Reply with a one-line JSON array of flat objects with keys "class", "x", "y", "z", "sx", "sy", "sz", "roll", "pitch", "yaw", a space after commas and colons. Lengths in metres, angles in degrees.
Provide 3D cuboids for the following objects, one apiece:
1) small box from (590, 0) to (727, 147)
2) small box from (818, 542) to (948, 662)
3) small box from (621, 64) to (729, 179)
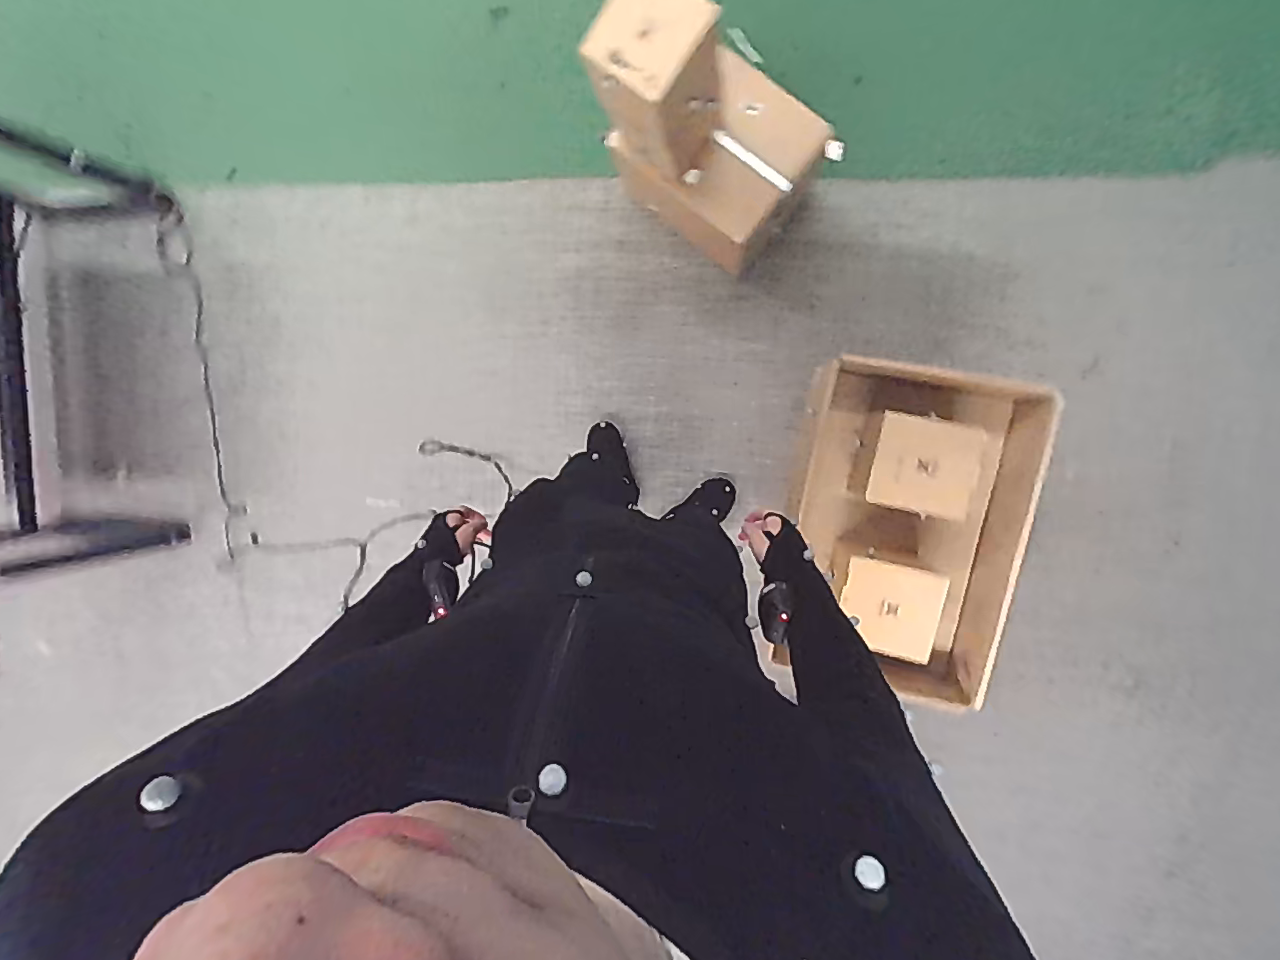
[{"class": "small box", "x": 0.038, "y": -0.757, "z": 0.976, "sx": 0.168, "sy": 0.176, "sz": 0.179, "roll": 39, "pitch": 100, "yaw": 3}, {"class": "small box", "x": 0.471, "y": 0.231, "z": 1.075, "sx": 0.179, "sy": 0.176, "sz": 0.168, "roll": 13, "pitch": 98, "yaw": 9}, {"class": "small box", "x": 0.069, "y": -0.784, "z": 1.135, "sx": 0.168, "sy": 0.176, "sz": 0.179, "roll": 39, "pitch": 101, "yaw": 3}]
